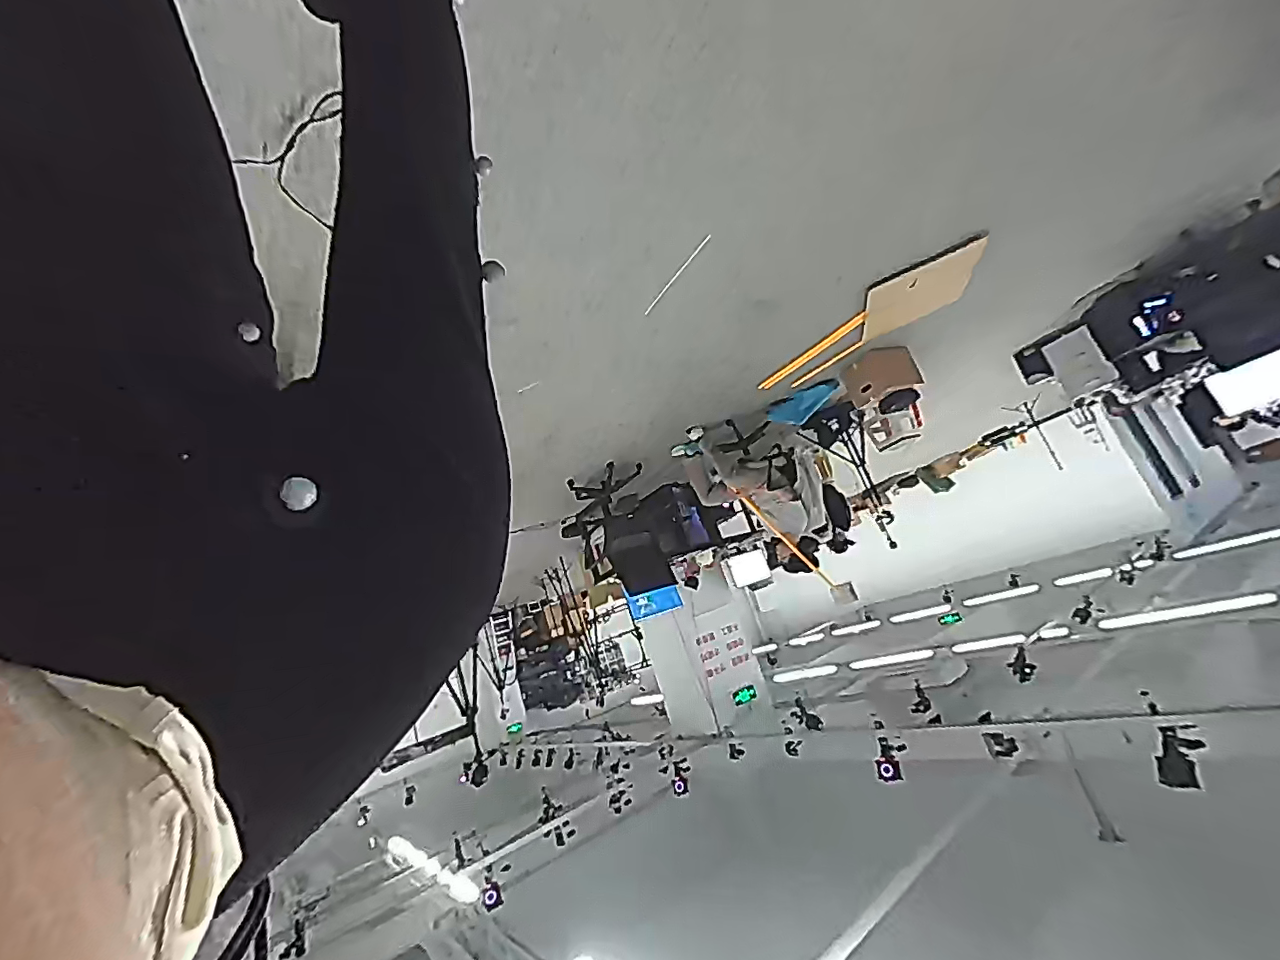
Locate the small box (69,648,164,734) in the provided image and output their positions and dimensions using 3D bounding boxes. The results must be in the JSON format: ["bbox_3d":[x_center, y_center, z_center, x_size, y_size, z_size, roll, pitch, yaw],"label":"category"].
[{"bbox_3d":[-1.421,0.568,1.472,0.168,0.176,0.179,-6,160,-38],"label":"small box"}]
